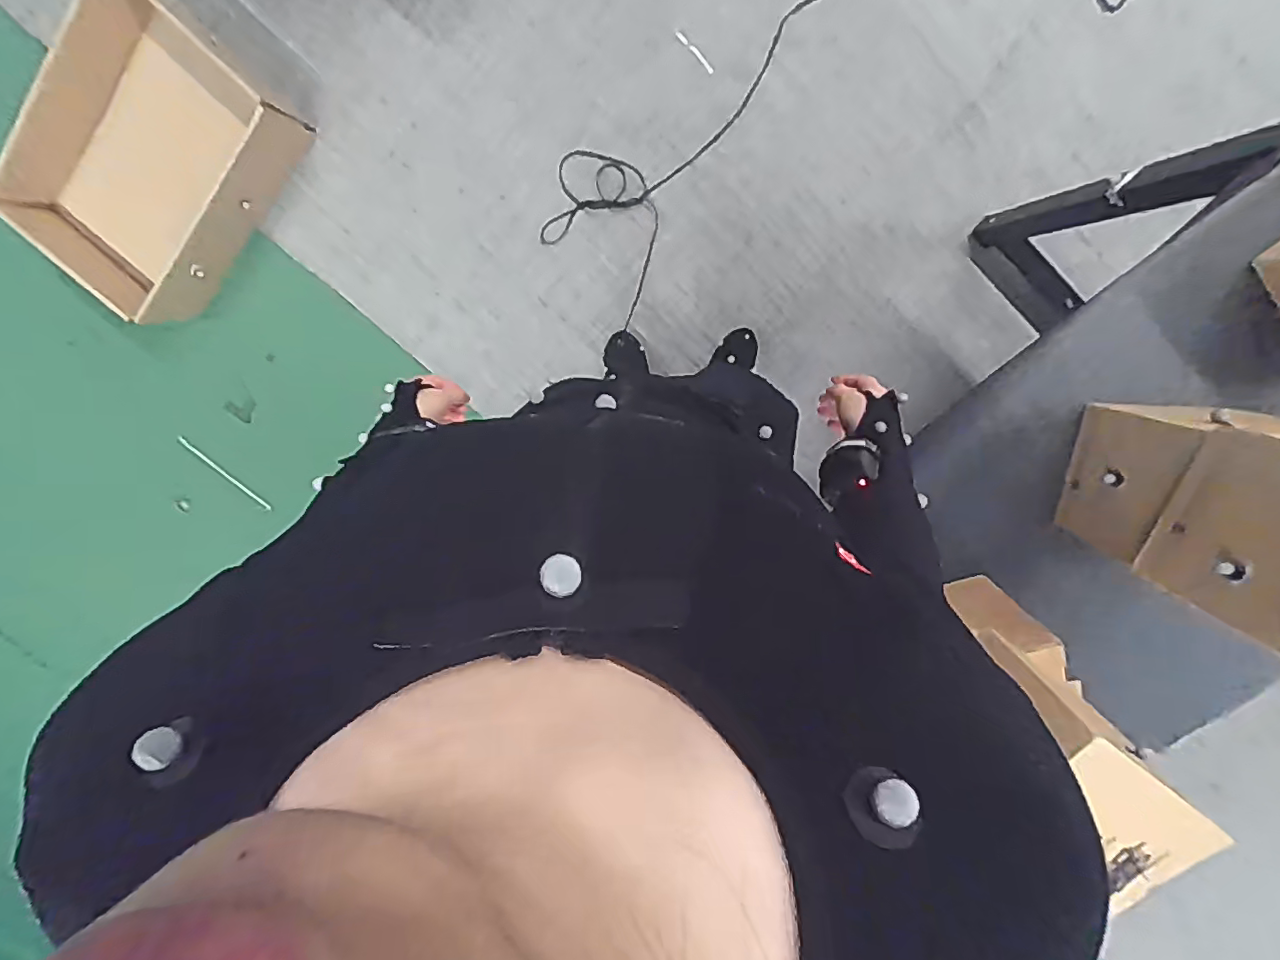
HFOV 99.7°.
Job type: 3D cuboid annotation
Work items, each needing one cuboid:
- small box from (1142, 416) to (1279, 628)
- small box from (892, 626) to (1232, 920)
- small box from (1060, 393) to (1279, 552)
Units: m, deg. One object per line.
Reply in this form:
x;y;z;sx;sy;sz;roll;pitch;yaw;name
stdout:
0.618;0.050;0.475;0.179;0.176;0.168;13;108;-2;small box
0.405;0.285;0.556;0.179;0.176;0.168;36;104;-8;small box
0.643;-0.005;0.627;0.179;0.176;0.168;2;108;2;small box
